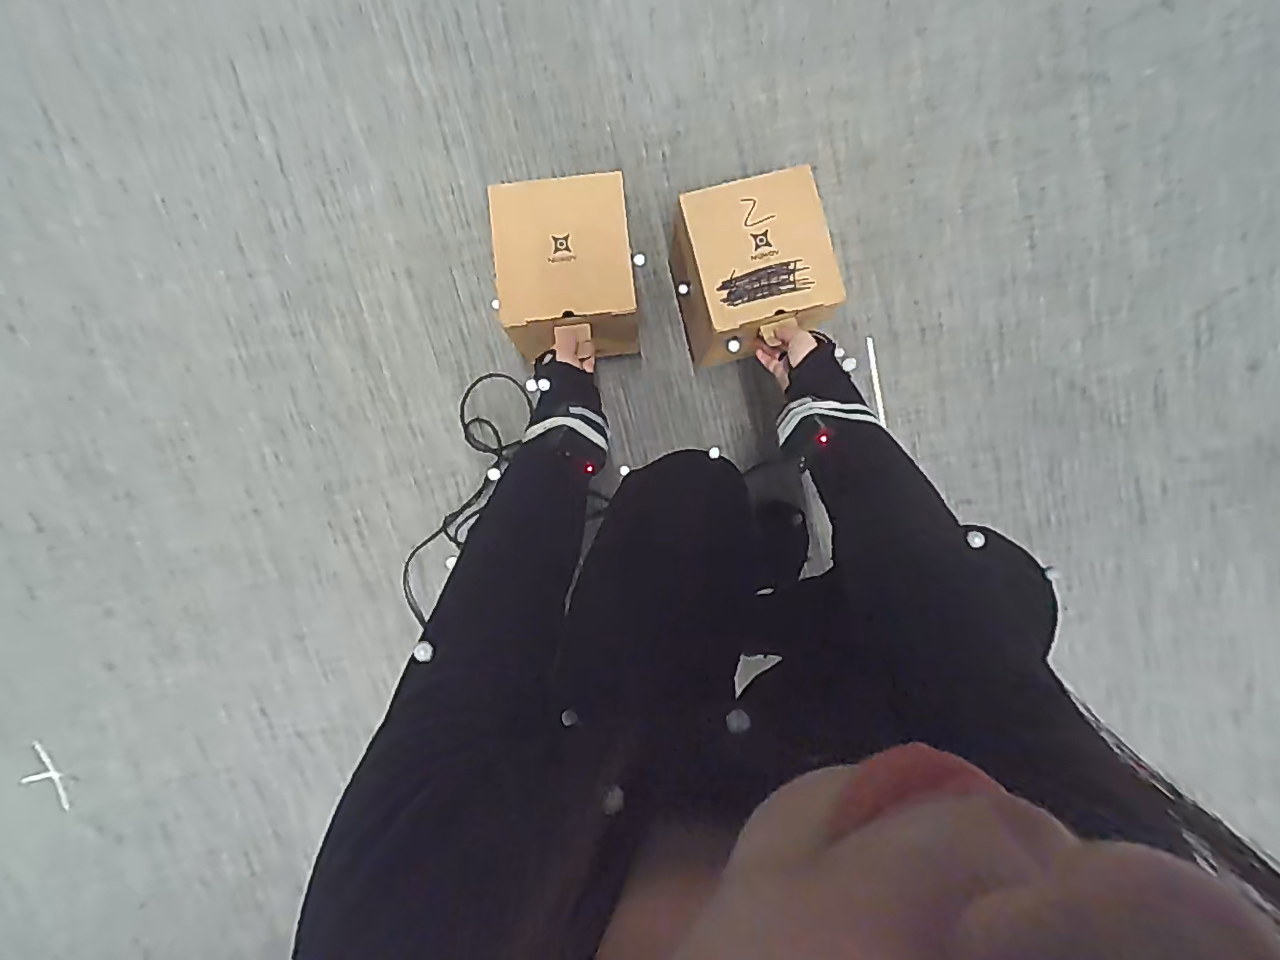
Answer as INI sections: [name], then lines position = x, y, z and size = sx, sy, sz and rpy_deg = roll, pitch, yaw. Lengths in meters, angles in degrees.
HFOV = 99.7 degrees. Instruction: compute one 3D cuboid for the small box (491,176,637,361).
[small box]
position = -0.093, -0.275, 0.735
size = 0.168, 0.176, 0.179
rpy_deg = -6, 89, 1
